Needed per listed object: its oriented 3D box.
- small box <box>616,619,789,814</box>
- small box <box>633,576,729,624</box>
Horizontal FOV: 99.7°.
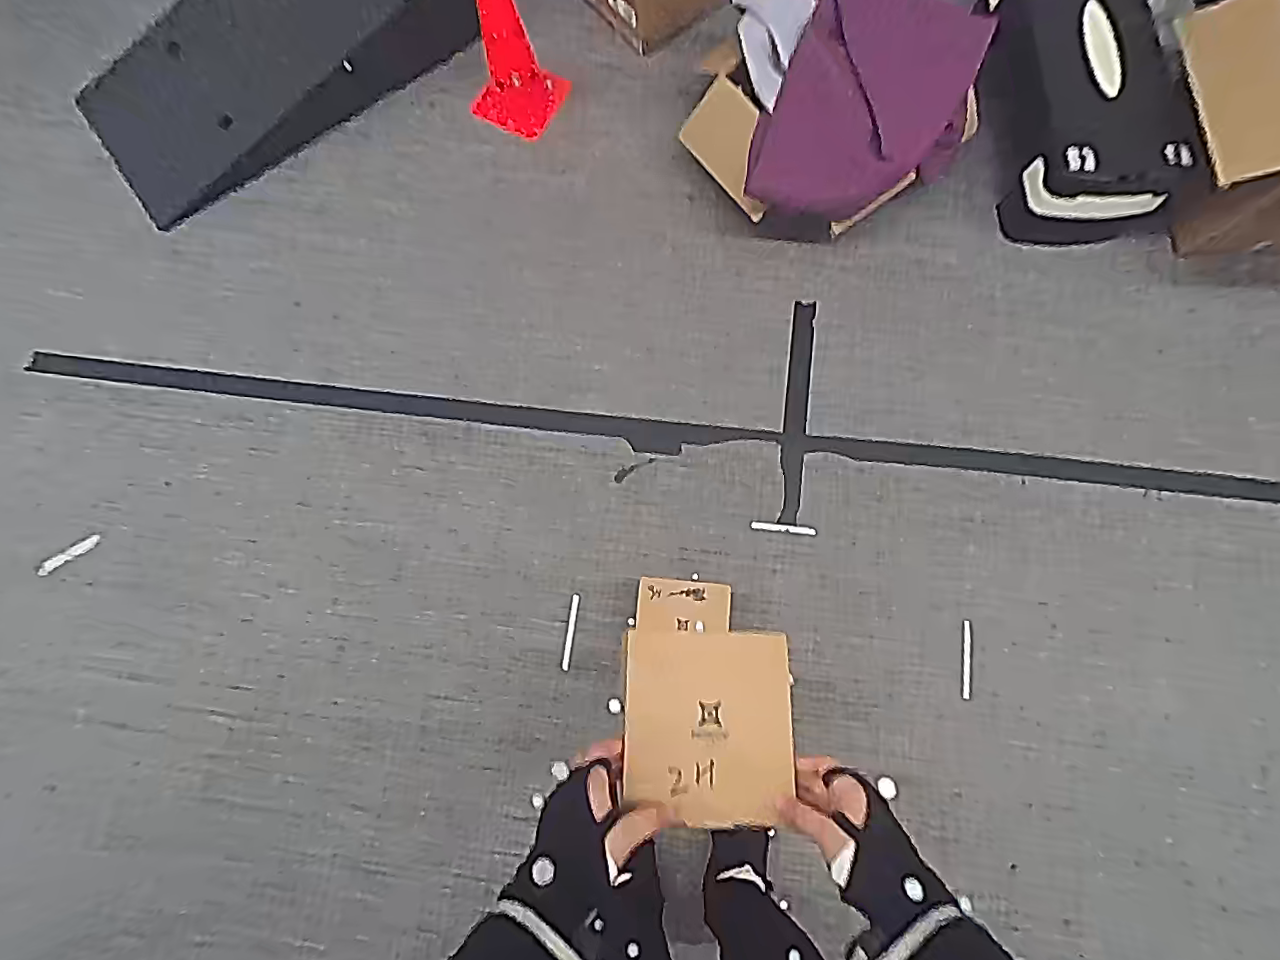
[{"bbox_3d":[0.060,0.256,0.615,0.168,0.176,0.179,3,73,-3],"label":"small box"},{"bbox_3d":[0.070,0.280,1.024,0.168,0.176,0.179,6,79,2],"label":"small box"}]
